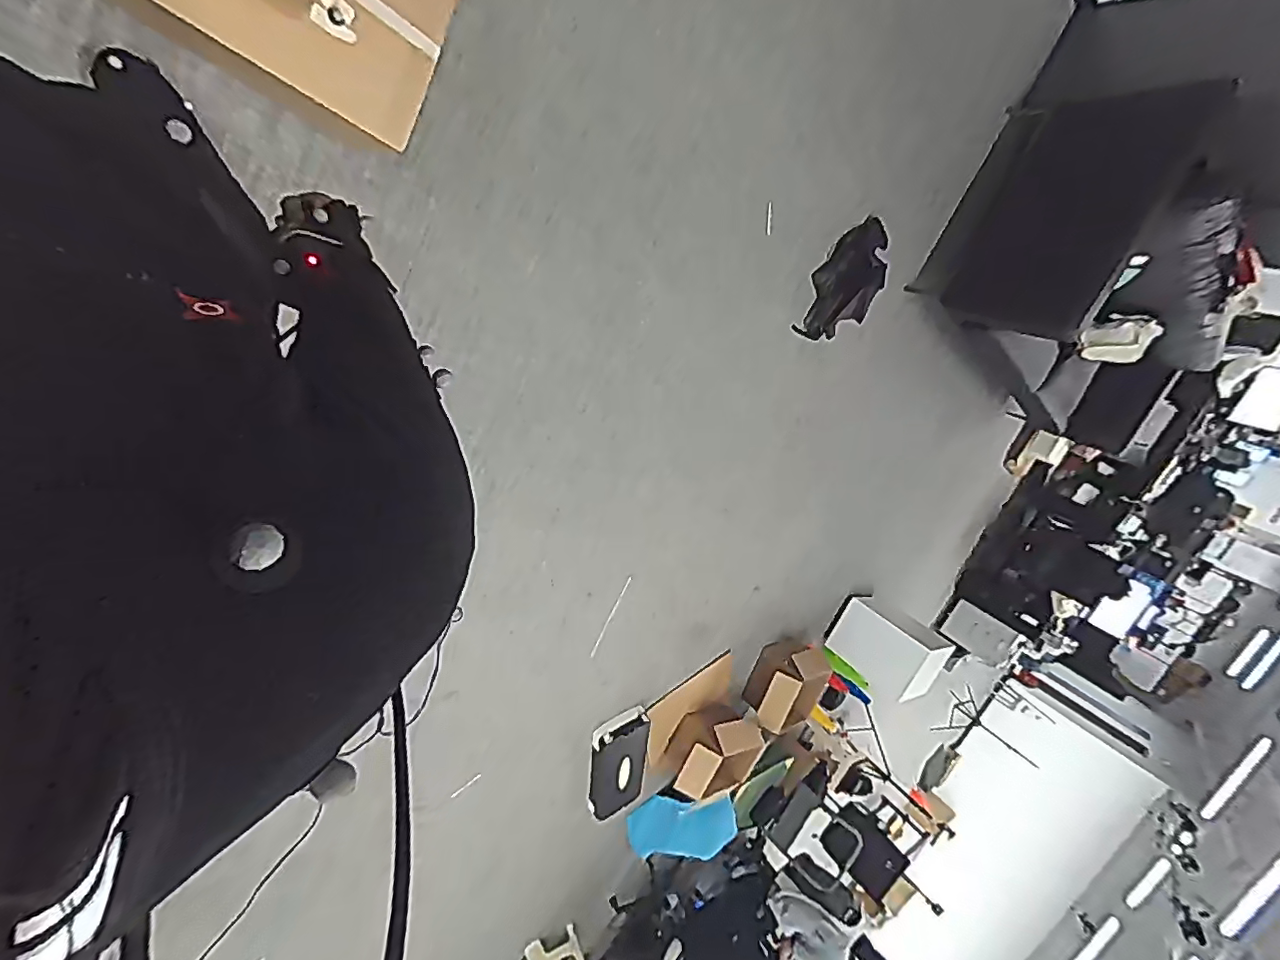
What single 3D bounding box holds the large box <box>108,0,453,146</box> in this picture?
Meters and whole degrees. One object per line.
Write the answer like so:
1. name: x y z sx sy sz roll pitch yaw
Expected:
1. large box: -0.542 -0.768 0.799 0.408 0.320 0.320 14 108 -46
